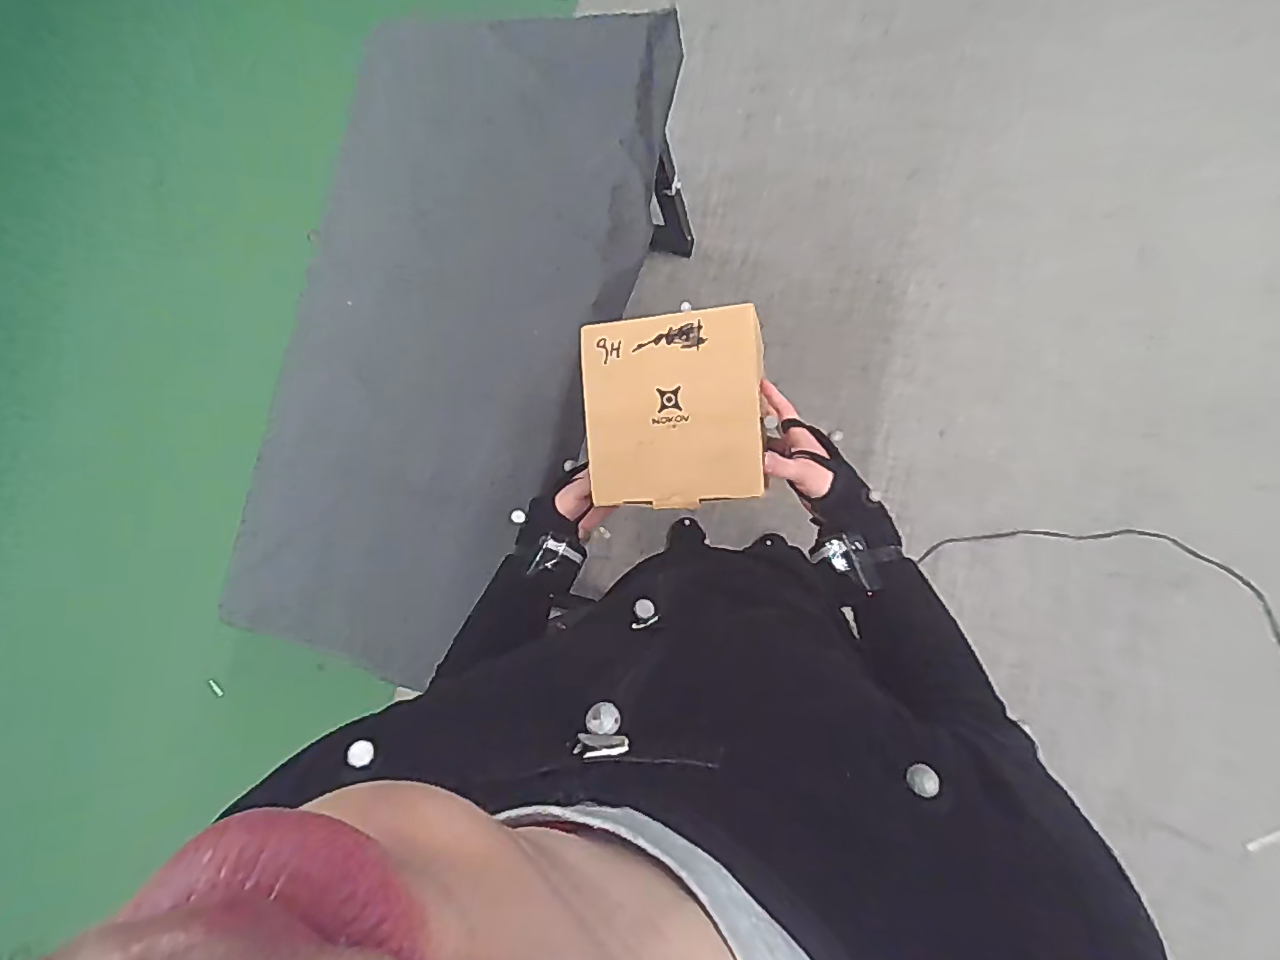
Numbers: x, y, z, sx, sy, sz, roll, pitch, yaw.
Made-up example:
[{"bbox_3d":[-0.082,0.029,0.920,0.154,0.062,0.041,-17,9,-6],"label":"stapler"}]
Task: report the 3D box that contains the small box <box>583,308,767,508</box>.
[{"bbox_3d":[0.048,-0.068,0.575,0.168,0.176,0.179,-3,92,13],"label":"small box"}]
